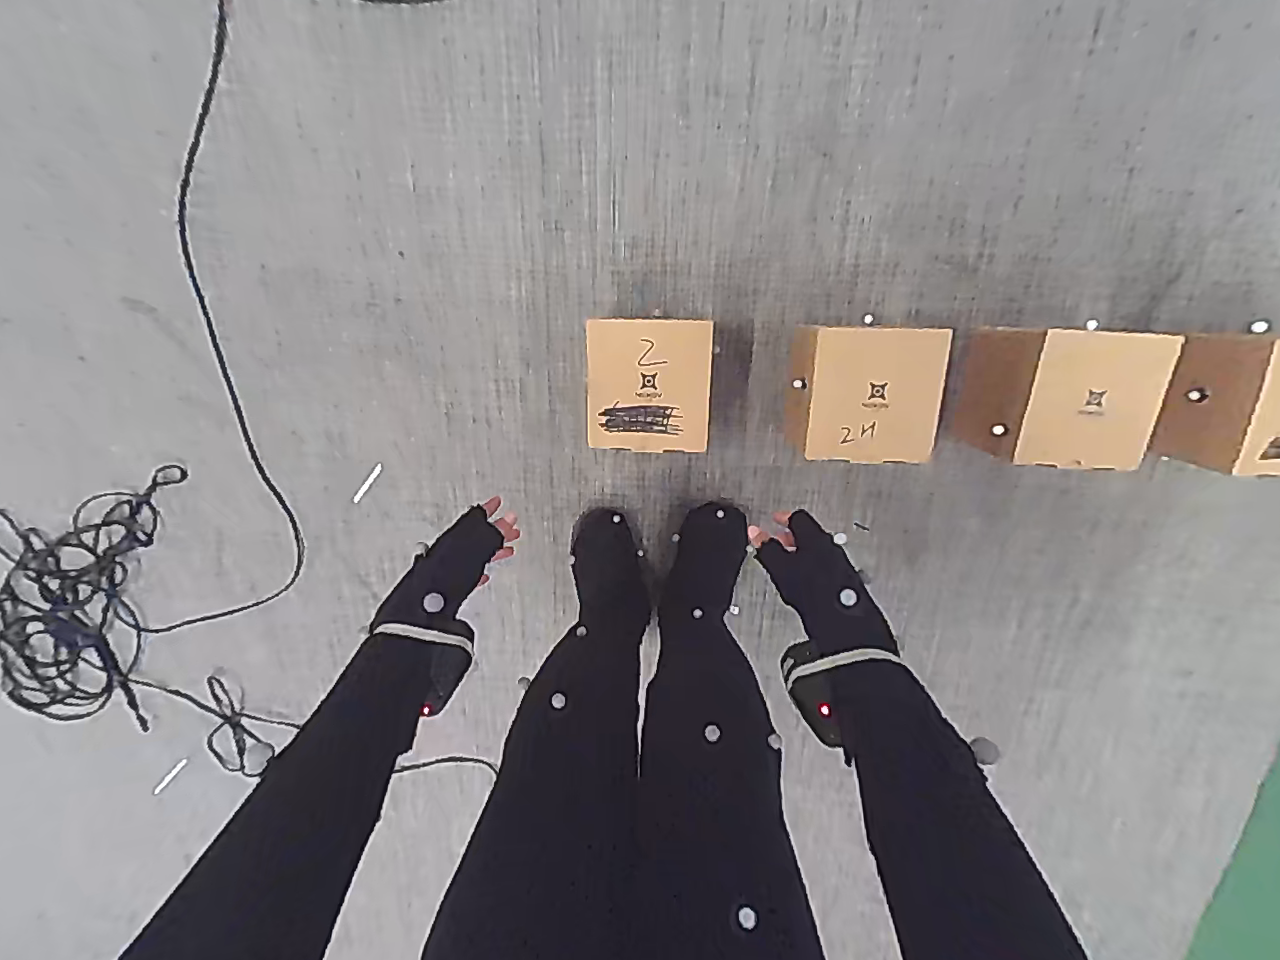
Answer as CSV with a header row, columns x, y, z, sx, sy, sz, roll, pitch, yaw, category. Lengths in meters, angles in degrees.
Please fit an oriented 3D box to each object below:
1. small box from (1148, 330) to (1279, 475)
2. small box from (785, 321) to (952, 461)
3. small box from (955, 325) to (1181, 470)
x,y,z,sx,sy,sz,roll,pitch,yaw,category
0.844,-0.112,0.743,0.168,0.176,0.179,1,107,4,small box
0.308,-0.134,0.771,0.168,0.176,0.179,2,108,4,small box
0.576,-0.124,0.759,0.168,0.176,0.179,4,107,3,small box
